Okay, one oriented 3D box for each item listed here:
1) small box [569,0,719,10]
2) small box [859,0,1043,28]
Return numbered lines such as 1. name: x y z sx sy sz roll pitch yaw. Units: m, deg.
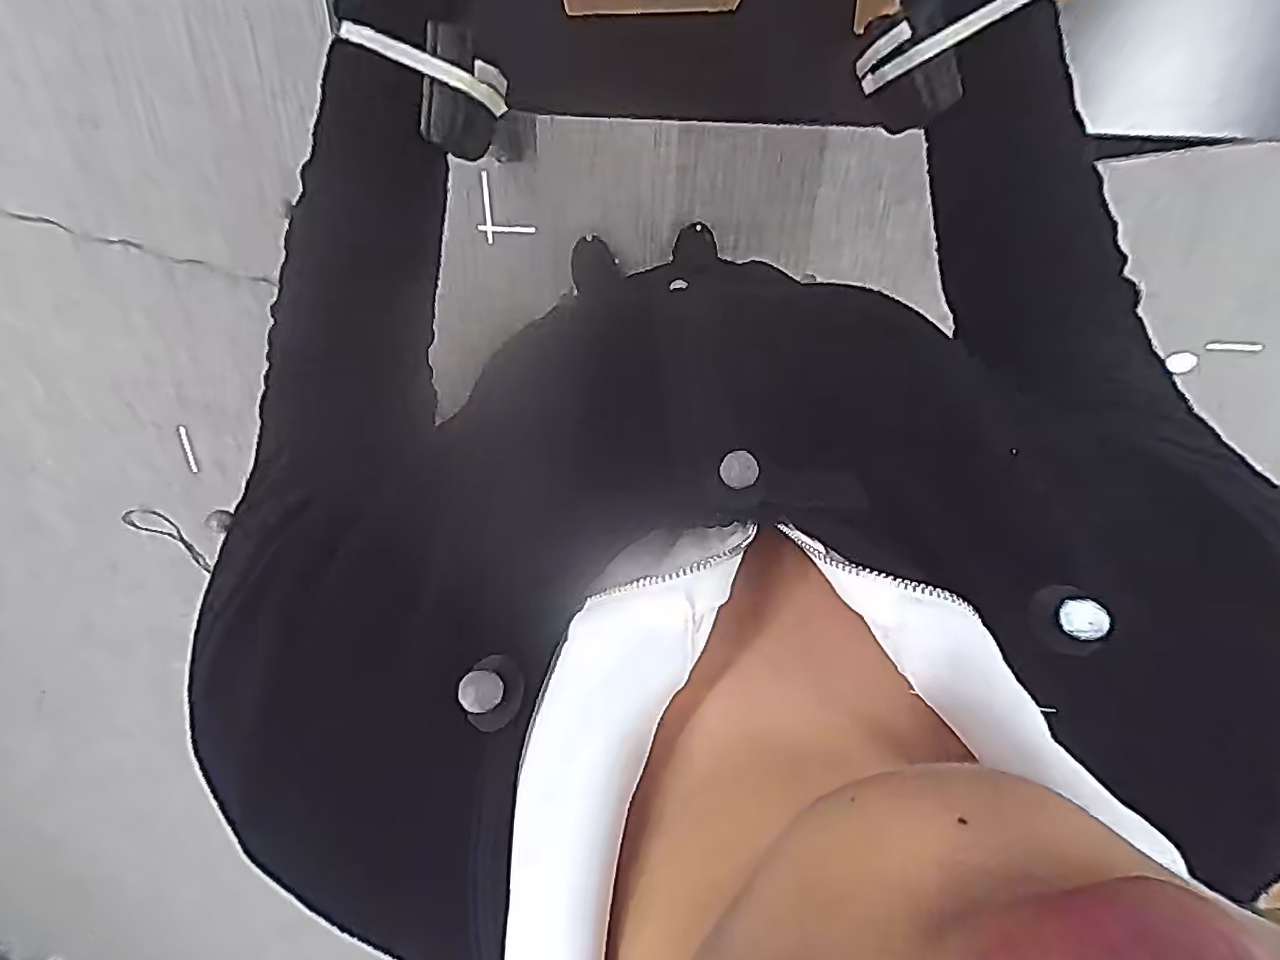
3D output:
1. small box: 0.012 -0.522 0.447 0.179 0.176 0.168 -2 115 0
2. small box: 0.308 -0.517 0.462 0.179 0.176 0.168 -3 115 0
